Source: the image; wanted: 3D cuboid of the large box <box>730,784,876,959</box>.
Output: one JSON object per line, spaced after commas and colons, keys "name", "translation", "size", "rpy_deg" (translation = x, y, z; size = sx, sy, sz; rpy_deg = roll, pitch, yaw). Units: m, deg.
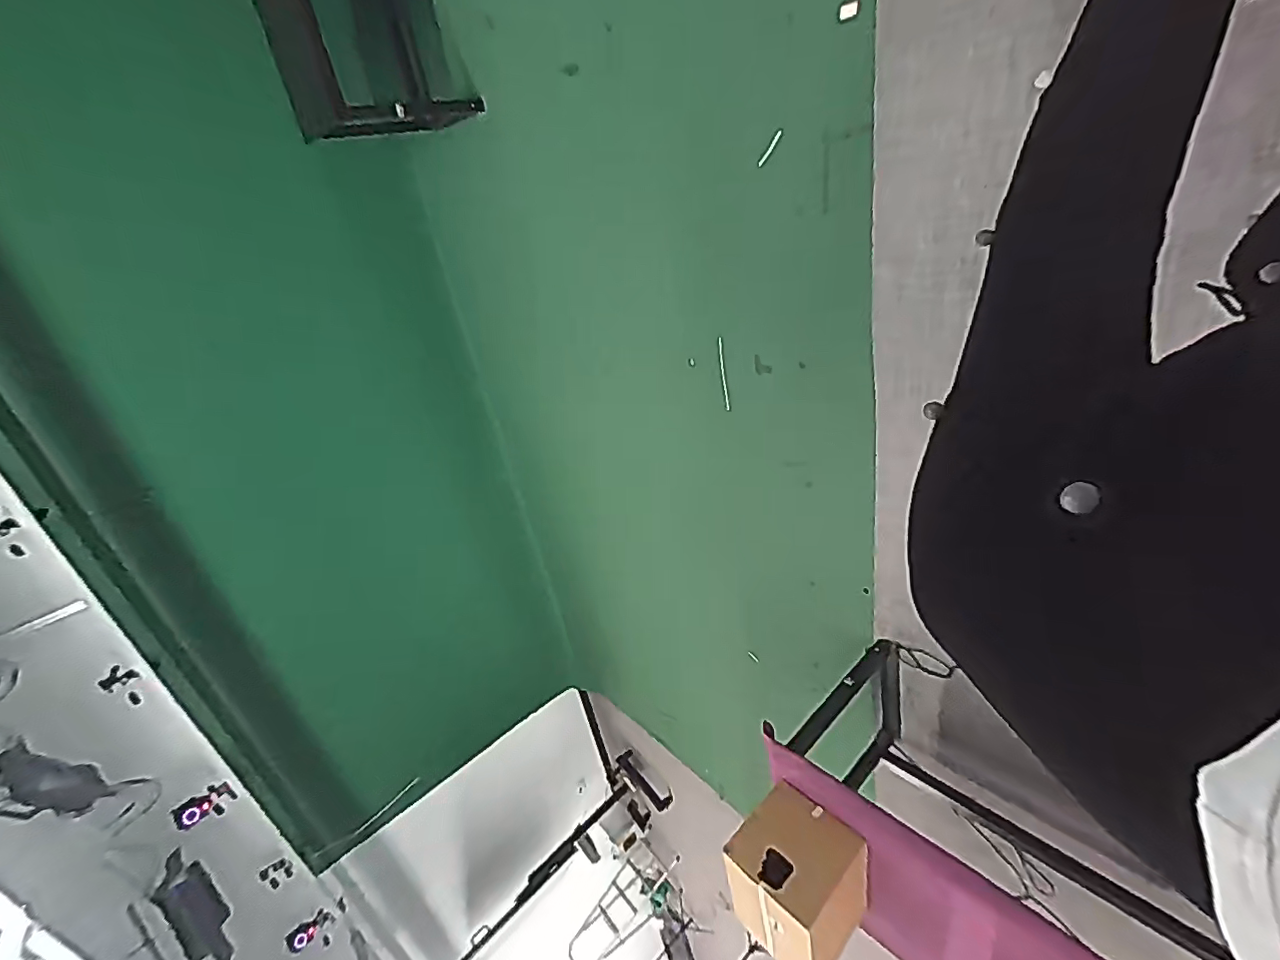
{"name": "large box", "translation": [0.521, 1.280, 1.704], "size": [0.320, 0.320, 0.408], "rpy_deg": [17, 127, 46]}
